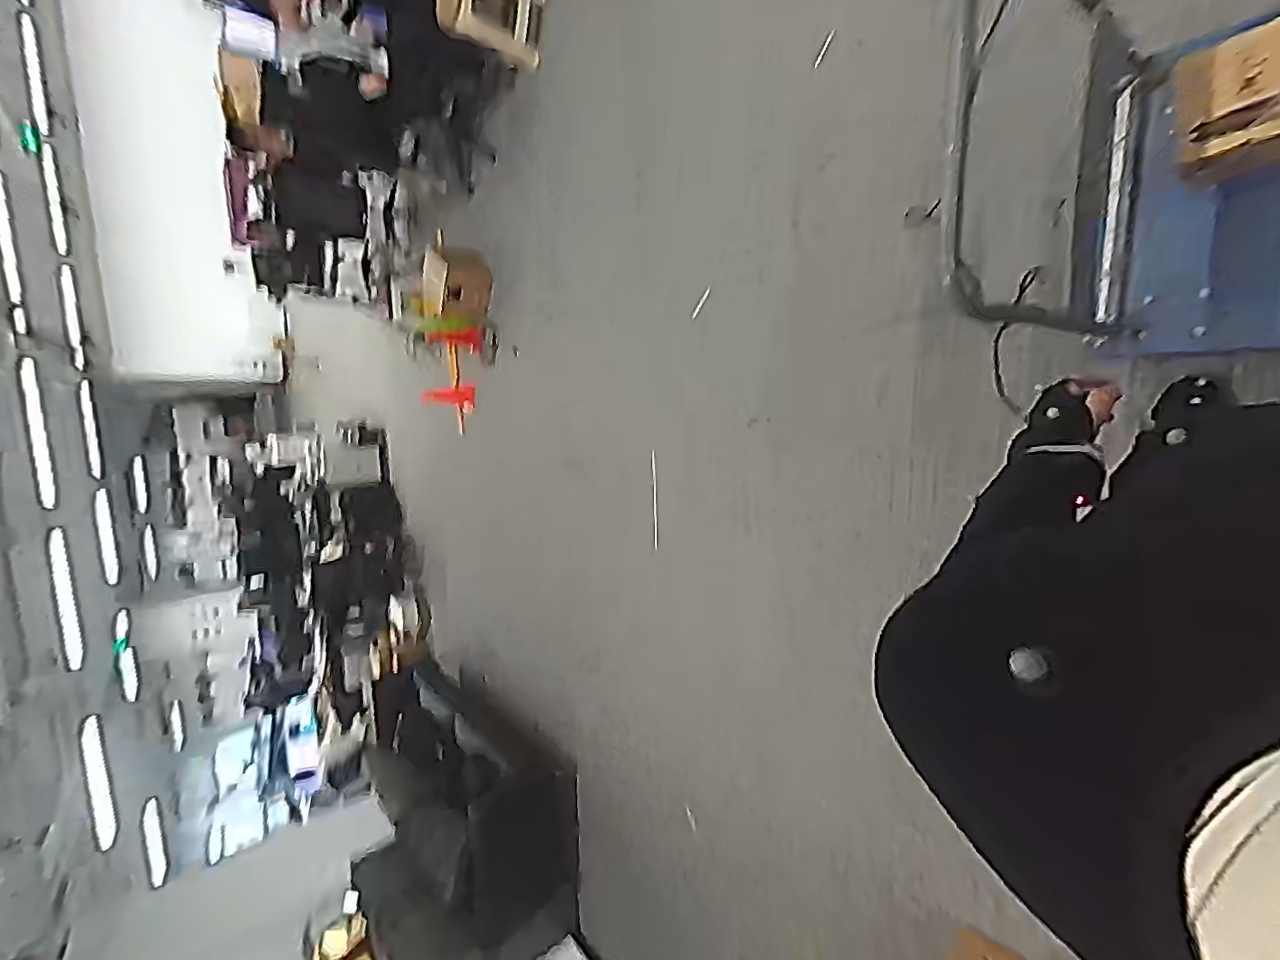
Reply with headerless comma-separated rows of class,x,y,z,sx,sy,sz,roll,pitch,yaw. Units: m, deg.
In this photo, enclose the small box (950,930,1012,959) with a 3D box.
small box,0.993,1.467,1.555,0.168,0.176,0.179,11,103,49
